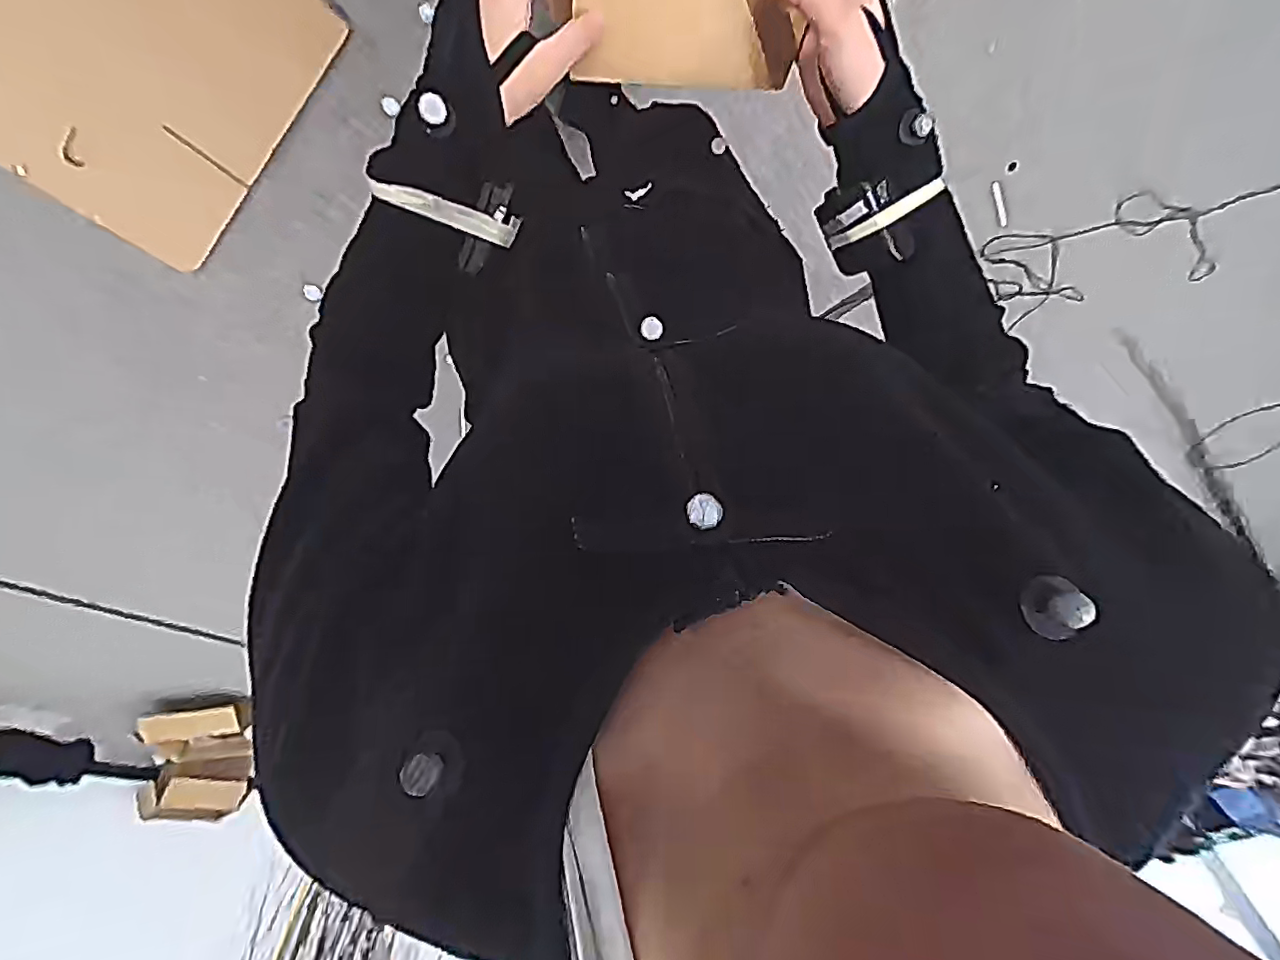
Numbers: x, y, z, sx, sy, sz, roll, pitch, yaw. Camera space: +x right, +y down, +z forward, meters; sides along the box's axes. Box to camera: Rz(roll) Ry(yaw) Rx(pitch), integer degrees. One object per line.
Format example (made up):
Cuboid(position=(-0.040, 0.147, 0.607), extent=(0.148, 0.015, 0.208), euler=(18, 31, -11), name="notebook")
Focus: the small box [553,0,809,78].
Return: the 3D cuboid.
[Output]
Cuboid(position=(0.025, -0.404, 0.347), extent=(0.168, 0.176, 0.179), euler=(-7, 154, -13), name="small box")
